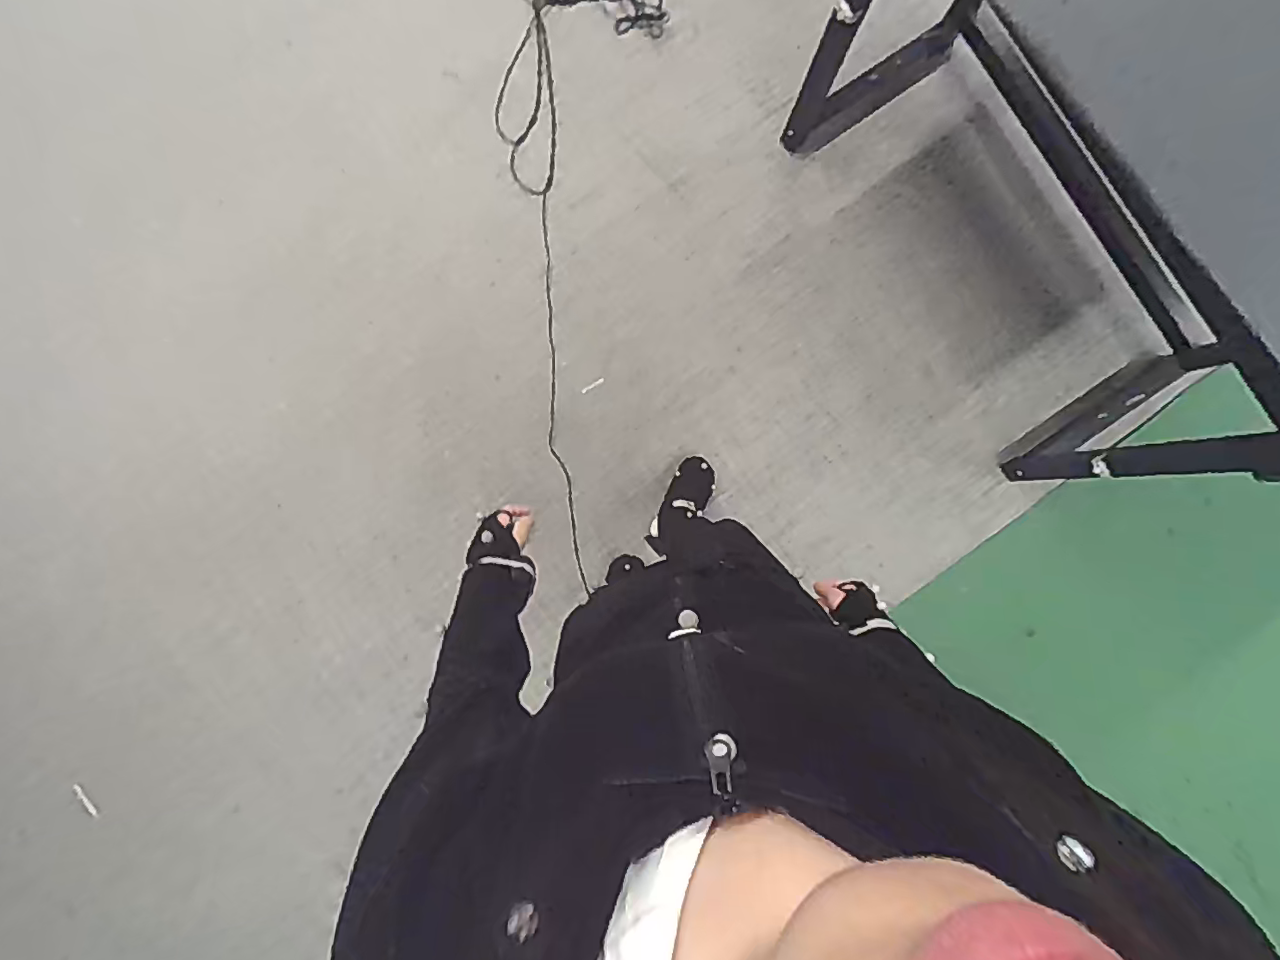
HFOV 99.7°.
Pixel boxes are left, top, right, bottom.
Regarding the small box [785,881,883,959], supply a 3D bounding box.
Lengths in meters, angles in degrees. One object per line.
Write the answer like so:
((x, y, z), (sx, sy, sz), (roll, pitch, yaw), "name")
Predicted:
((0.502, 1.189, 1.378), (0.168, 0.176, 0.179), (-35, 90, -4), "small box")
